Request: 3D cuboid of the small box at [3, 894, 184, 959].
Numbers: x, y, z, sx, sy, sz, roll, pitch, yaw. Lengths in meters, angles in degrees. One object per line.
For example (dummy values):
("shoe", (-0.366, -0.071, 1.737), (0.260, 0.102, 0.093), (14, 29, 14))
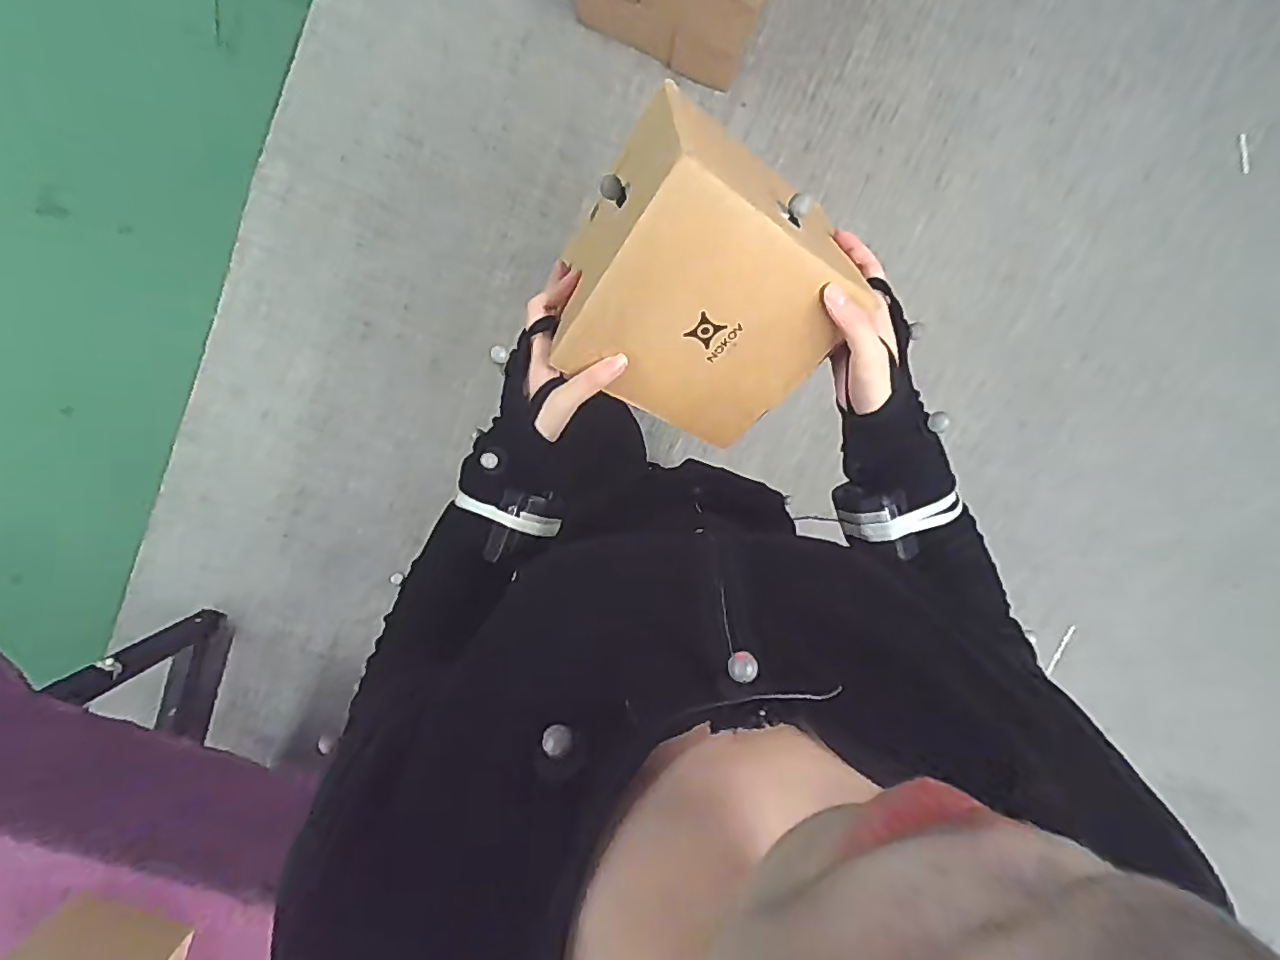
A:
("small box", (-0.789, 0.724, 0.743), (0.179, 0.176, 0.168), (22, 97, -4))
